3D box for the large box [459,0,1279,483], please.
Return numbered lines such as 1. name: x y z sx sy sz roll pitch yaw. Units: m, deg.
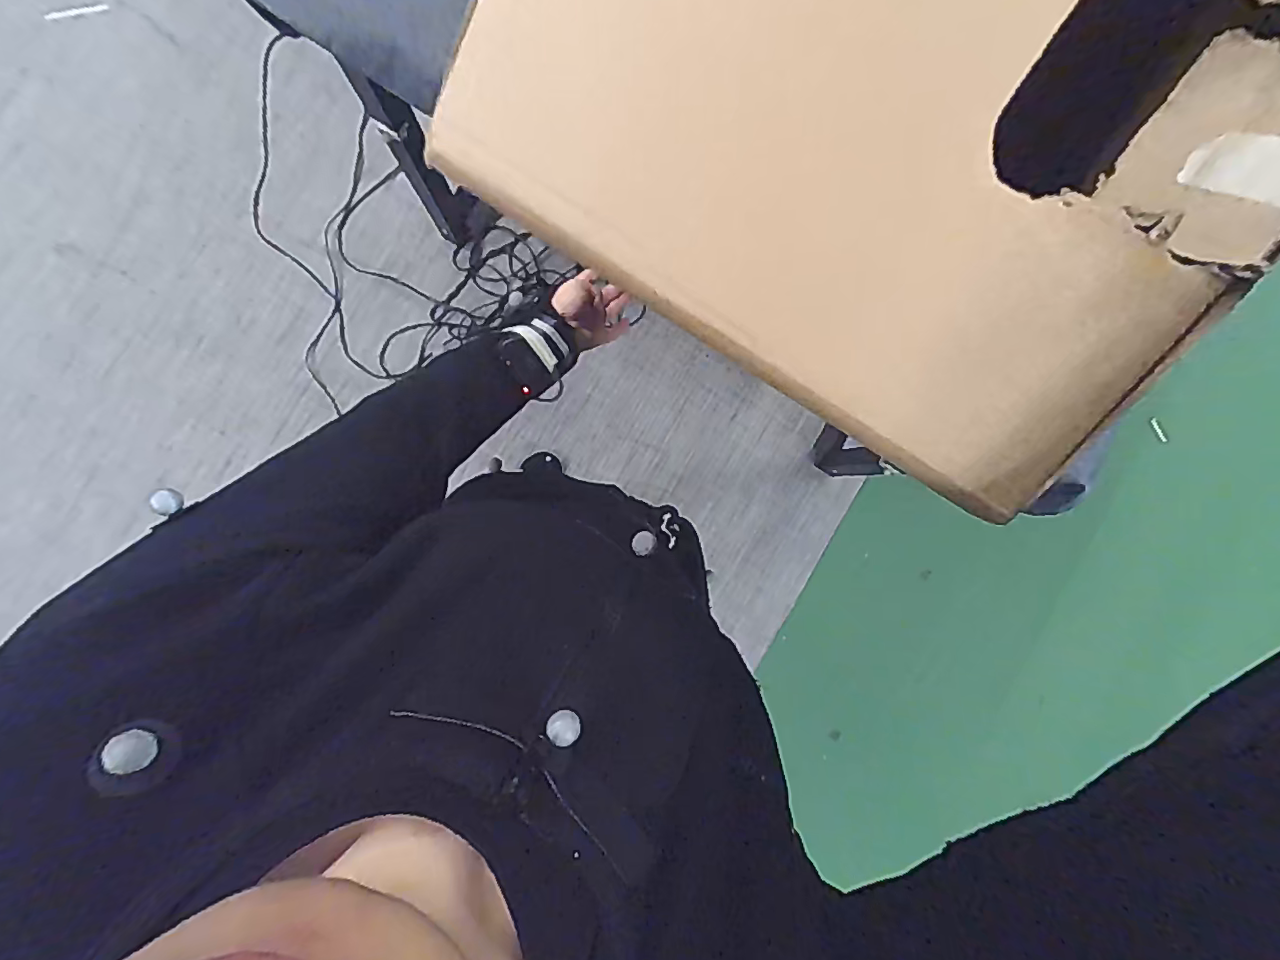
1. large box: 0.139 -0.254 0.383 0.320 0.408 0.320 31 109 -2
